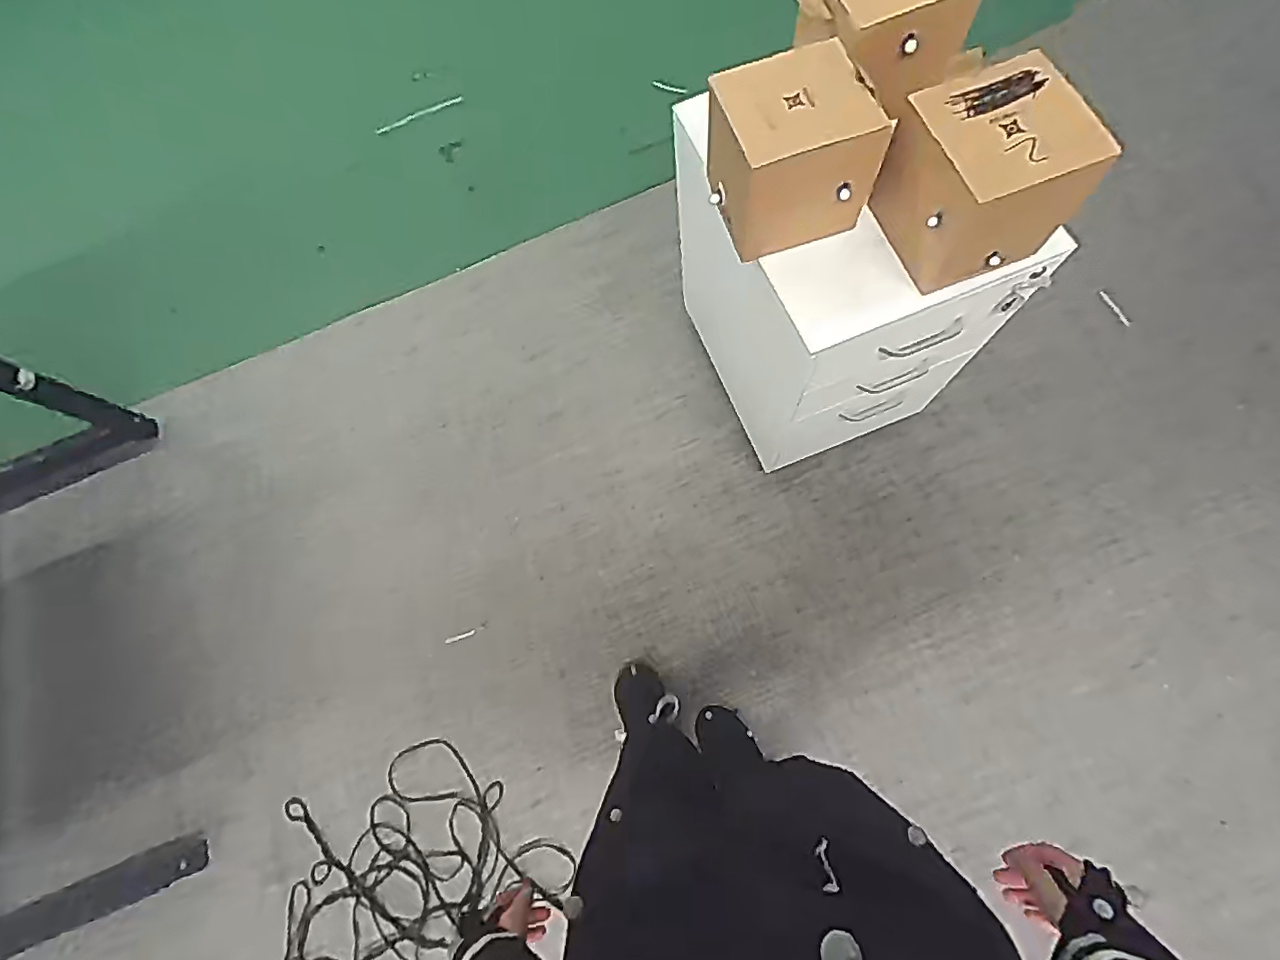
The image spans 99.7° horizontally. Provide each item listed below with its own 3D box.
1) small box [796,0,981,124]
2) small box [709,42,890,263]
[{"bbox_3d":[0.340,-0.642,0.784,0.179,0.176,0.168,-19,73,1],"label":"small box"},{"bbox_3d":[0.199,-0.433,0.737,0.179,0.176,0.168,-18,70,1],"label":"small box"}]
